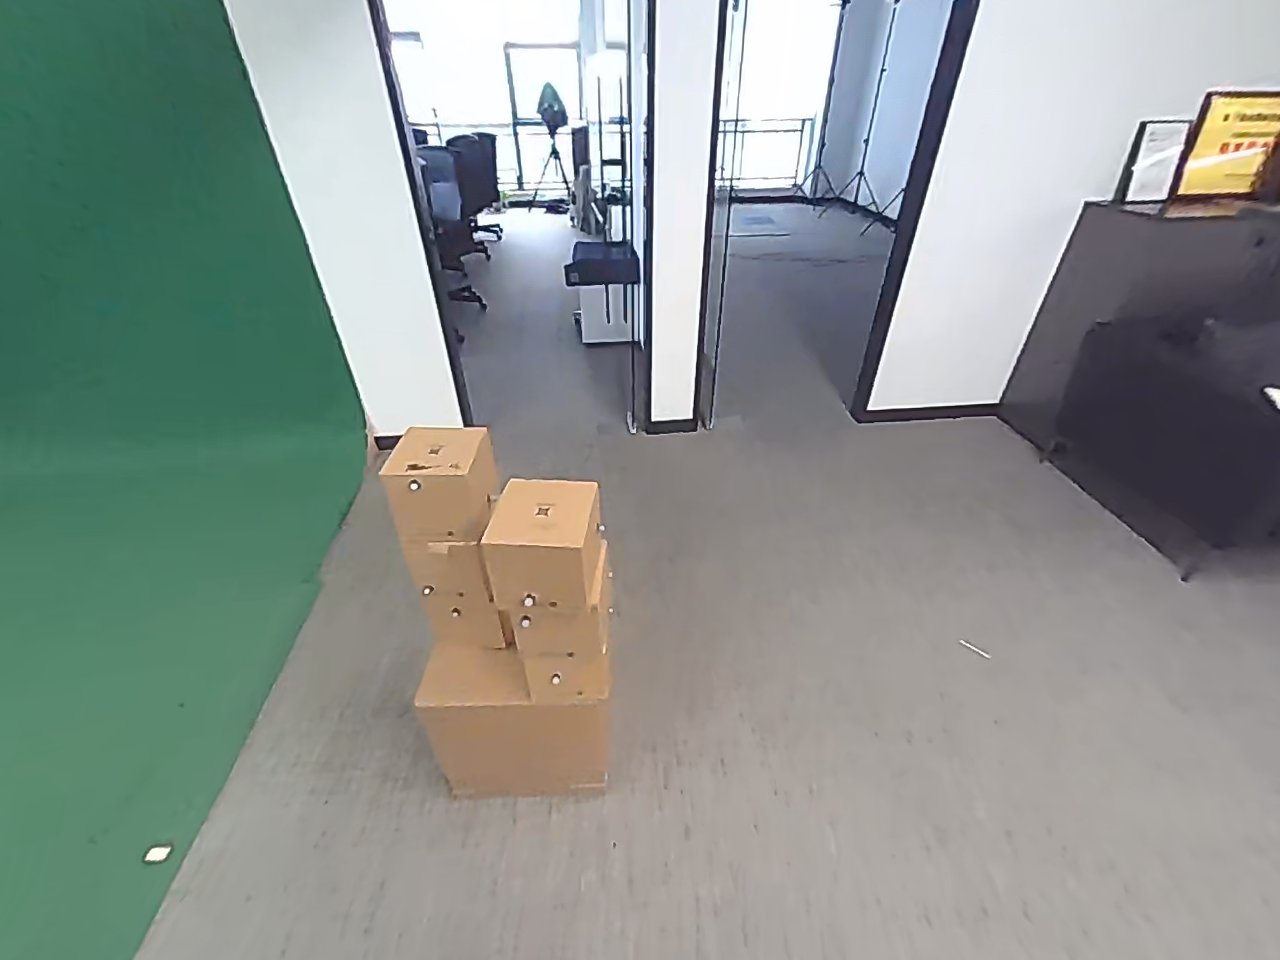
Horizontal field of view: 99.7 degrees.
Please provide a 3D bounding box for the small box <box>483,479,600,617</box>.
[{"bbox_3d":[-0.164,0.119,0.968,0.168,0.176,0.179,2,36,4],"label":"small box"}]

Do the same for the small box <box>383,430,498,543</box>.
[{"bbox_3d":[-0.398,0.011,1.115,0.168,0.176,0.179,0,35,0],"label":"small box"}]

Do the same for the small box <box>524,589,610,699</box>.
[{"bbox_3d":[-0.152,0.364,1.188,0.168,0.176,0.179,-2,36,-3],"label":"small box"}]

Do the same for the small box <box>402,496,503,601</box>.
[{"bbox_3d":[-0.395,0.149,1.205,0.168,0.176,0.179,4,35,6],"label":"small box"}]

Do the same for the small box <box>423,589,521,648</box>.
[{"bbox_3d":[-0.391,0.284,1.299,0.179,0.176,0.168,4,36,3],"label":"small box"}]
